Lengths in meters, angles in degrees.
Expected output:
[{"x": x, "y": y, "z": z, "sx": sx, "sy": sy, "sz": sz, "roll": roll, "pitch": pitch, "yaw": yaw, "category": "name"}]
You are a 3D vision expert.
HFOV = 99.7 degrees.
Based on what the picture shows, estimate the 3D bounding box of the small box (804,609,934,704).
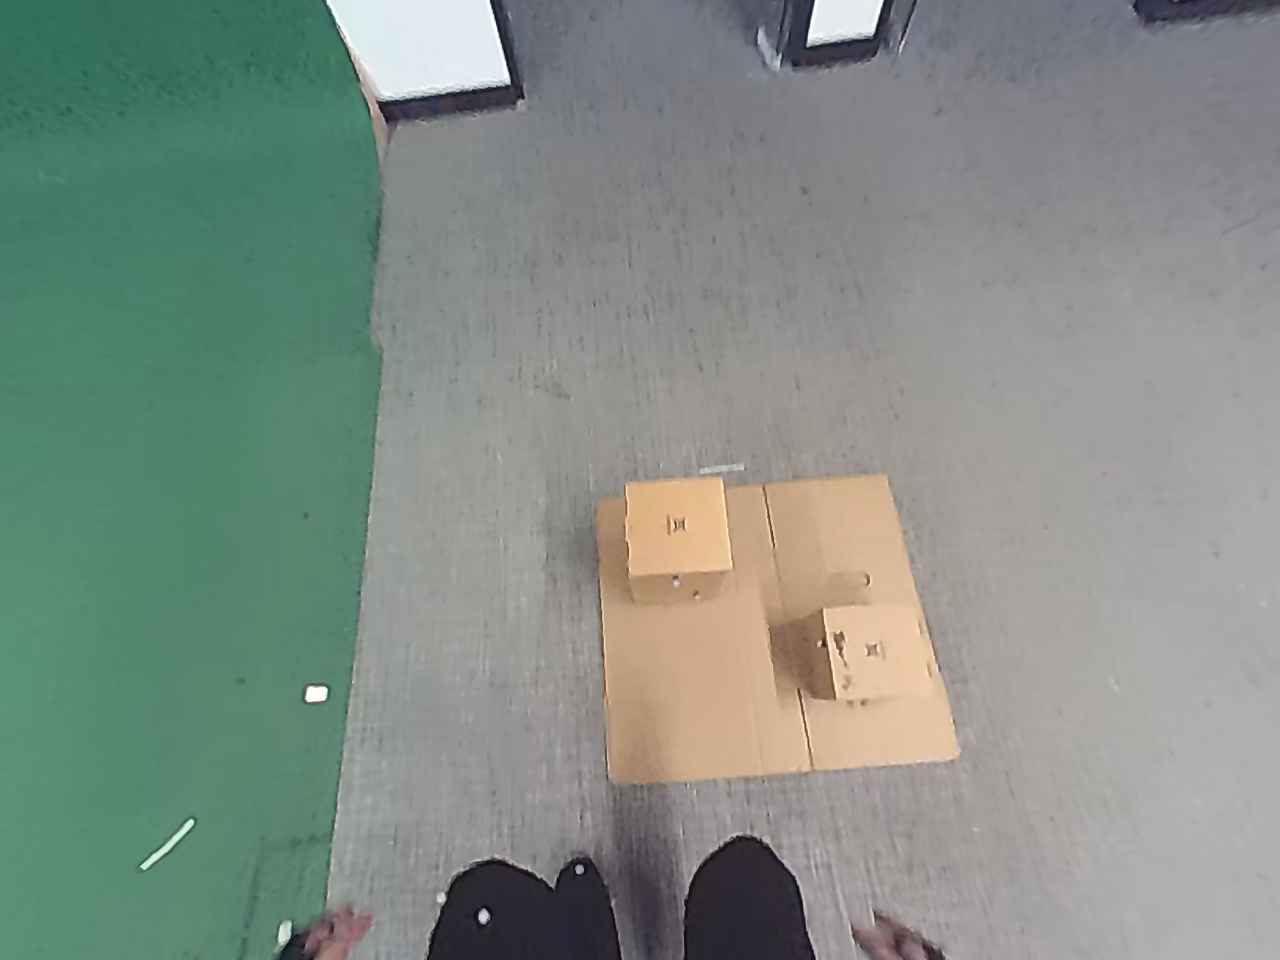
[{"x": 0.437, "y": 0.347, "z": 1.059, "sx": 0.179, "sy": 0.176, "sz": 0.168, "roll": -2, "pitch": 68, "yaw": 3, "category": "small box"}]

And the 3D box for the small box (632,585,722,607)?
[{"x": 0.072, "y": 0.173, "z": 1.148, "sx": 0.179, "sy": 0.176, "sz": 0.168, "roll": -4, "pitch": 68, "yaw": 2, "category": "small box"}]

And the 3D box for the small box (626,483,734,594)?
[{"x": 0.070, "y": 0.113, "z": 0.998, "sx": 0.179, "sy": 0.176, "sz": 0.168, "roll": -4, "pitch": 69, "yaw": 3, "category": "small box"}]
